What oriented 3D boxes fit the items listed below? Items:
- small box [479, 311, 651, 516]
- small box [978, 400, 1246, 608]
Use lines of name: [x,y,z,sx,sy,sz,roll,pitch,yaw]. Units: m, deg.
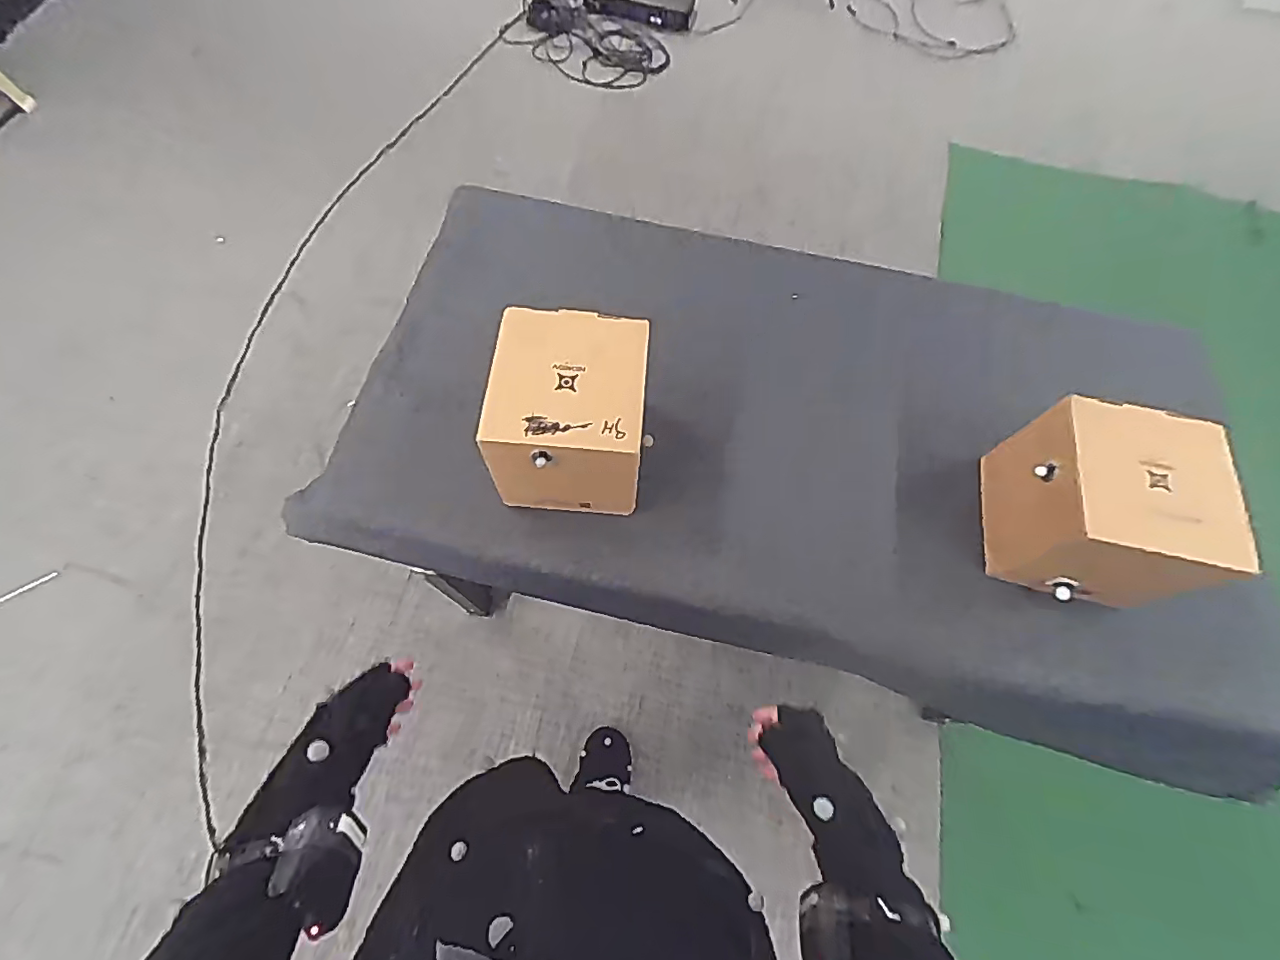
small box: [-0.079,-0.074,0.652,0.168,0.176,0.179,5,64,0]
small box: [0.529,0.036,0.640,0.168,0.176,0.179,12,67,4]
